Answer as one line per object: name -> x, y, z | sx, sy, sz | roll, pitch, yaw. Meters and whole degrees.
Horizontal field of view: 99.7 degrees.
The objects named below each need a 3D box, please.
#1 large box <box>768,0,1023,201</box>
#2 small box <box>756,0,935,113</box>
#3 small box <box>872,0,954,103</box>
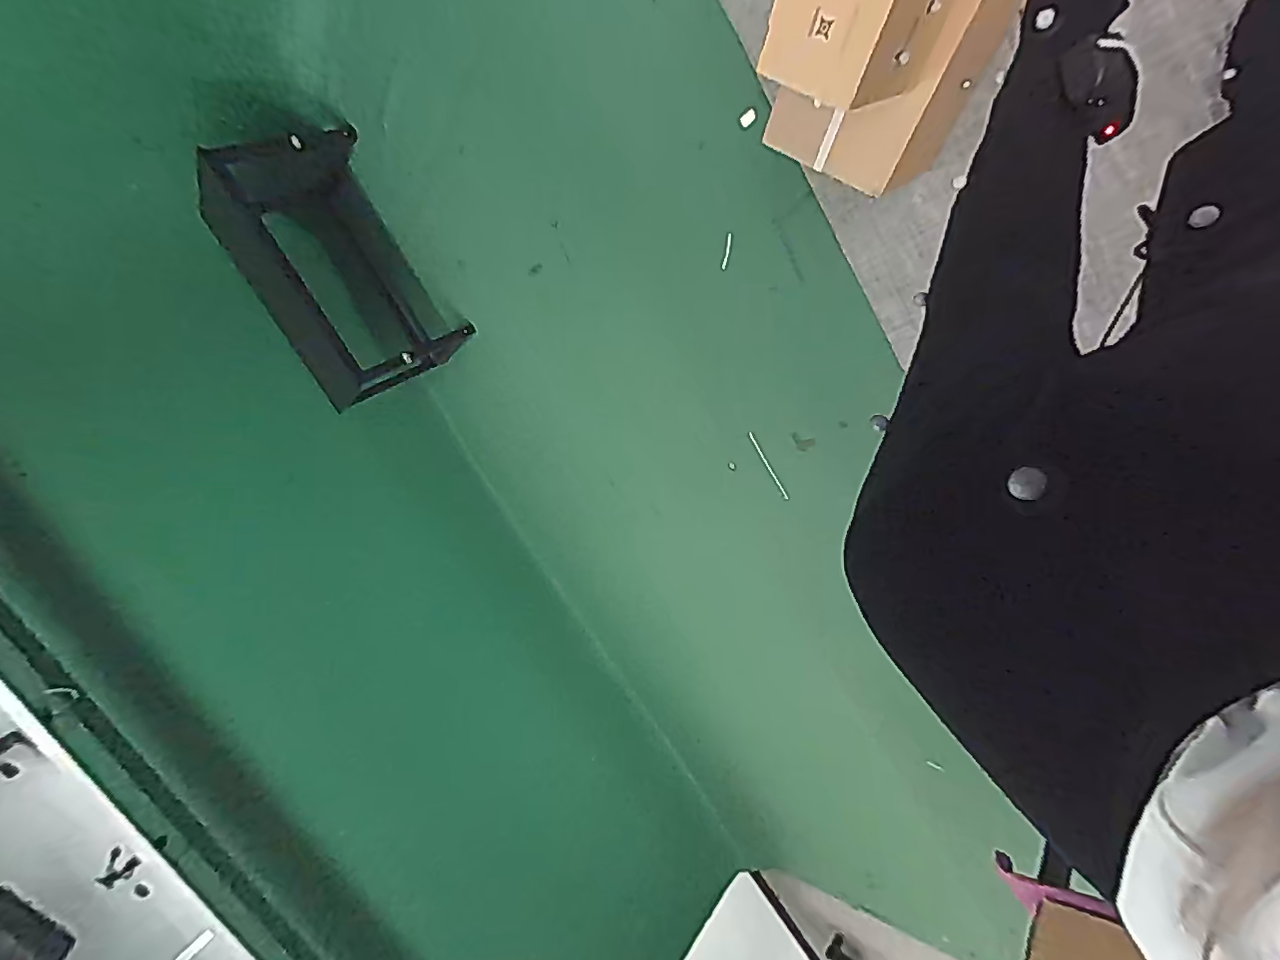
large box -> 0.536, -0.887, 1.140 | 0.320, 0.320, 0.408 | 39, 144, 19
small box -> 0.317, -0.702, 0.836 | 0.179, 0.176, 0.168 | 38, 144, 16
small box -> 0.415, -0.789, 0.934 | 0.168, 0.176, 0.179 | 38, 143, 18
